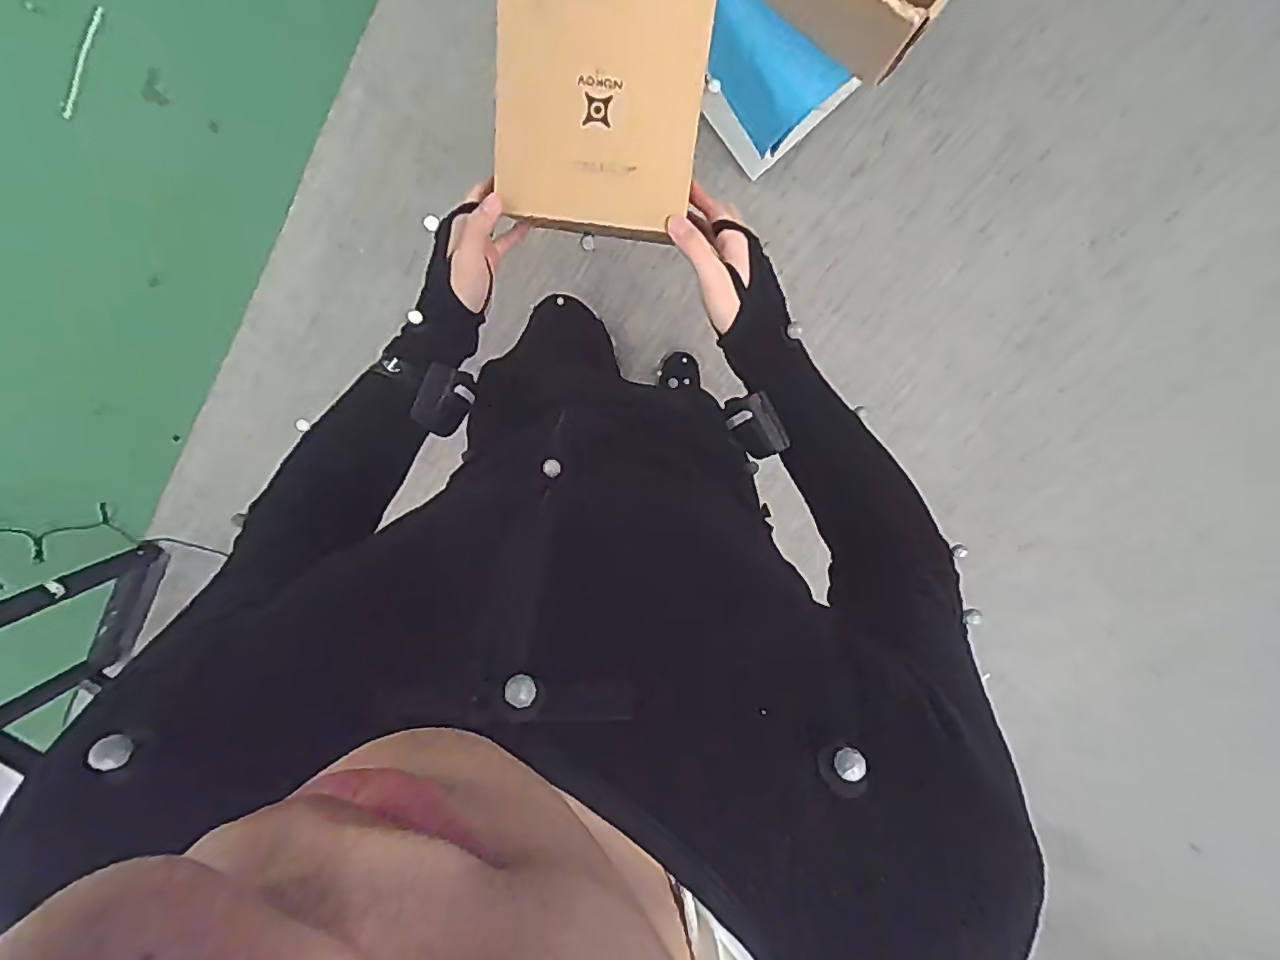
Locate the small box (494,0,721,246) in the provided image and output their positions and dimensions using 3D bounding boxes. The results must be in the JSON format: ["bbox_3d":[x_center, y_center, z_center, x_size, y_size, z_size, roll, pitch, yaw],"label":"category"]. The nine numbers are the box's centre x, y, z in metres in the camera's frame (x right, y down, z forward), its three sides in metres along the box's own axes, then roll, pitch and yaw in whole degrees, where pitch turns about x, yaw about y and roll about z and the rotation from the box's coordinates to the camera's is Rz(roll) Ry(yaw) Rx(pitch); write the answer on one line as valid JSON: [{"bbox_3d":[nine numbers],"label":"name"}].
[{"bbox_3d":[-0.028,-0.328,0.504,0.168,0.176,0.179,8,111,0],"label":"small box"}]
